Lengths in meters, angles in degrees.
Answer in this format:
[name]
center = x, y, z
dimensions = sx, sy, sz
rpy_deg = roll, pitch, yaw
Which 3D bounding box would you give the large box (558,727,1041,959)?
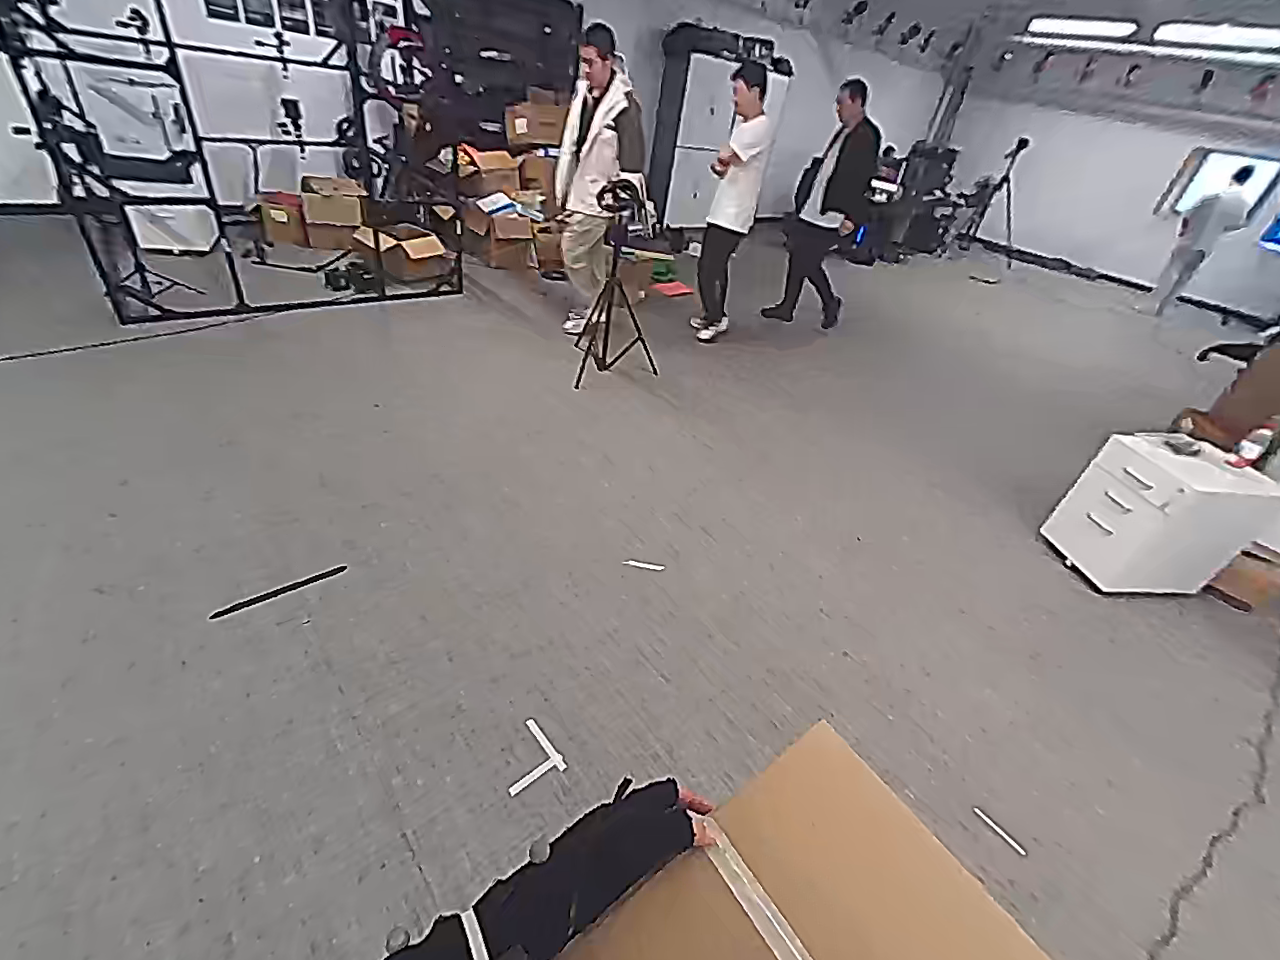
[large box]
center = 0.163, 0.520, 0.464
dimensions = 0.320, 0.320, 0.408
rpy_deg = -26, 51, -26
